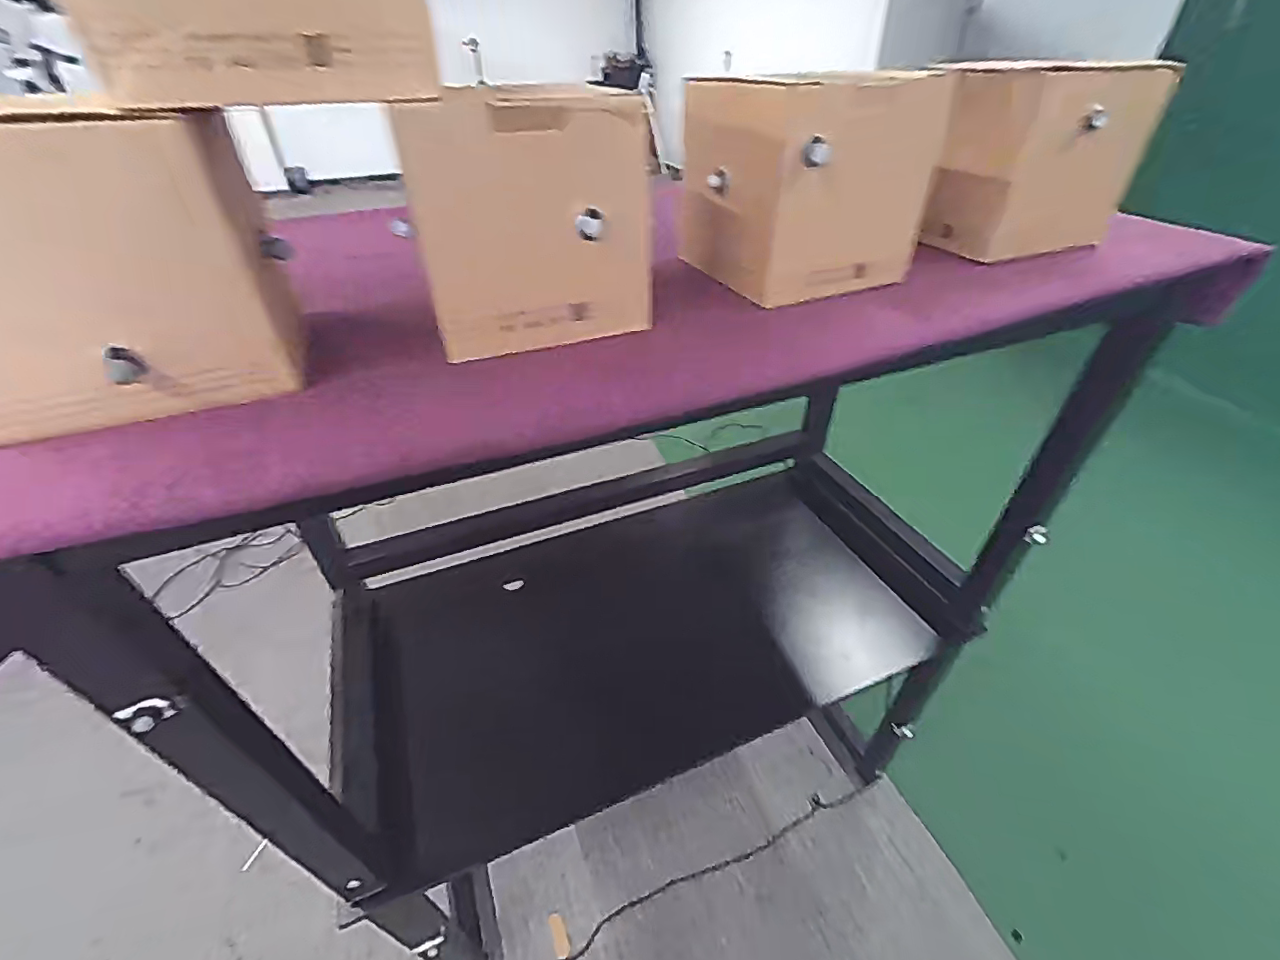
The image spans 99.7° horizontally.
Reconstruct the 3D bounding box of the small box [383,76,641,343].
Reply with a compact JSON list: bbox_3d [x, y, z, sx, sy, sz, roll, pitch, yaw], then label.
[{"bbox_3d":[-0.101,-0.223,0.446,0.168,0.176,0.179,-13,40,-16],"label":"small box"}]

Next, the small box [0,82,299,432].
[{"bbox_3d":[-0.351,-0.154,0.361,0.179,0.176,0.168,-16,41,-20],"label":"small box"}]

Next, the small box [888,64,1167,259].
[{"bbox_3d":[0.409,-0.359,0.610,0.179,0.176,0.168,-15,40,-17],"label":"small box"}]

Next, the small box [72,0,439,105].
[{"bbox_3d":[-0.224,-0.321,0.309,0.168,0.176,0.179,-15,40,-17],"label":"small box"}]
